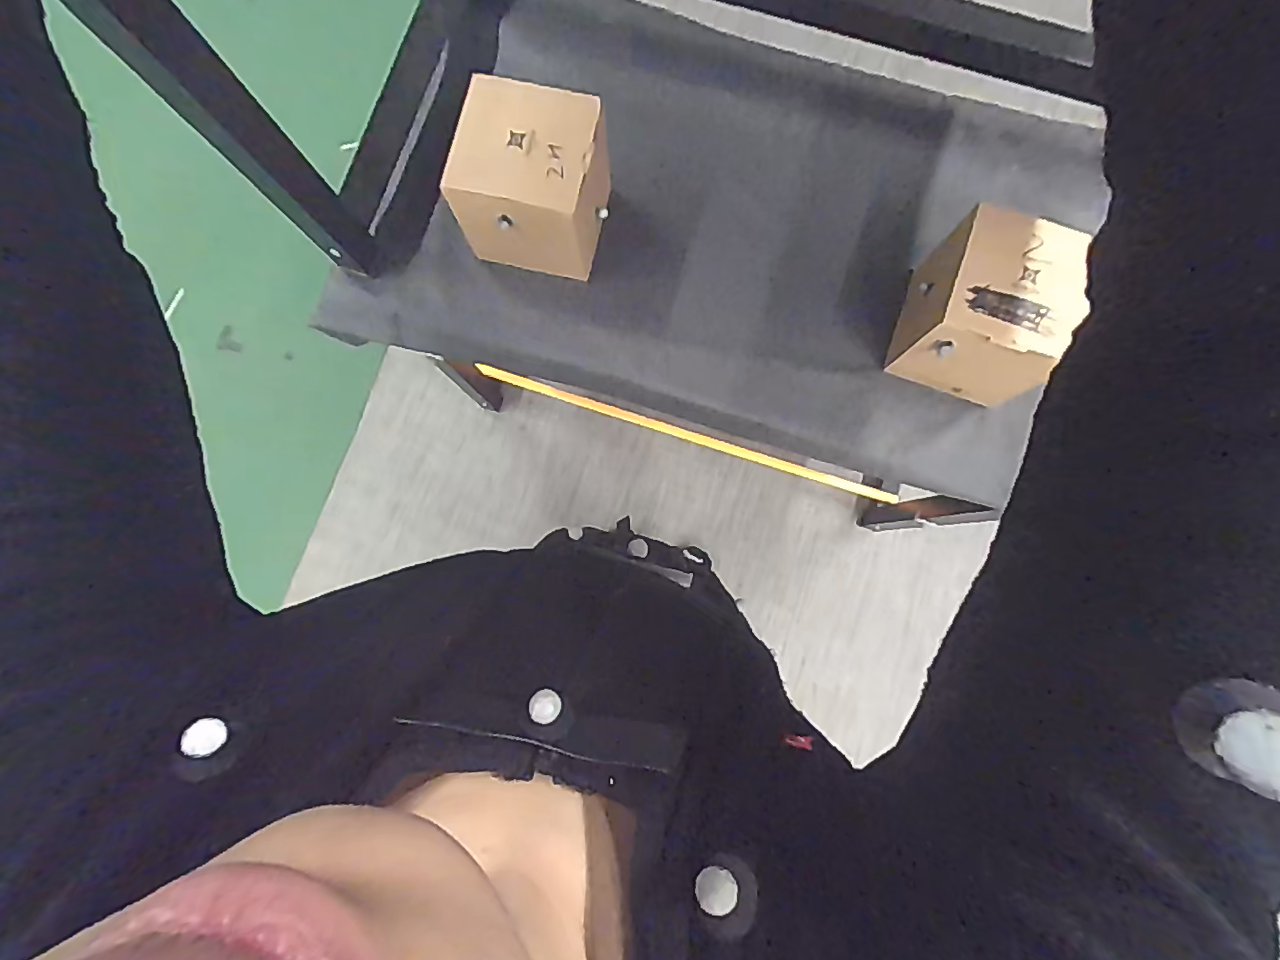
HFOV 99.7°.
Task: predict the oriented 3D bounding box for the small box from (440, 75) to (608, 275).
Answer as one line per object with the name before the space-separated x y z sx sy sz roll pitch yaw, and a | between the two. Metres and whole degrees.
small box | -0.150 -0.415 0.763 0.179 0.176 0.168 13 83 1
